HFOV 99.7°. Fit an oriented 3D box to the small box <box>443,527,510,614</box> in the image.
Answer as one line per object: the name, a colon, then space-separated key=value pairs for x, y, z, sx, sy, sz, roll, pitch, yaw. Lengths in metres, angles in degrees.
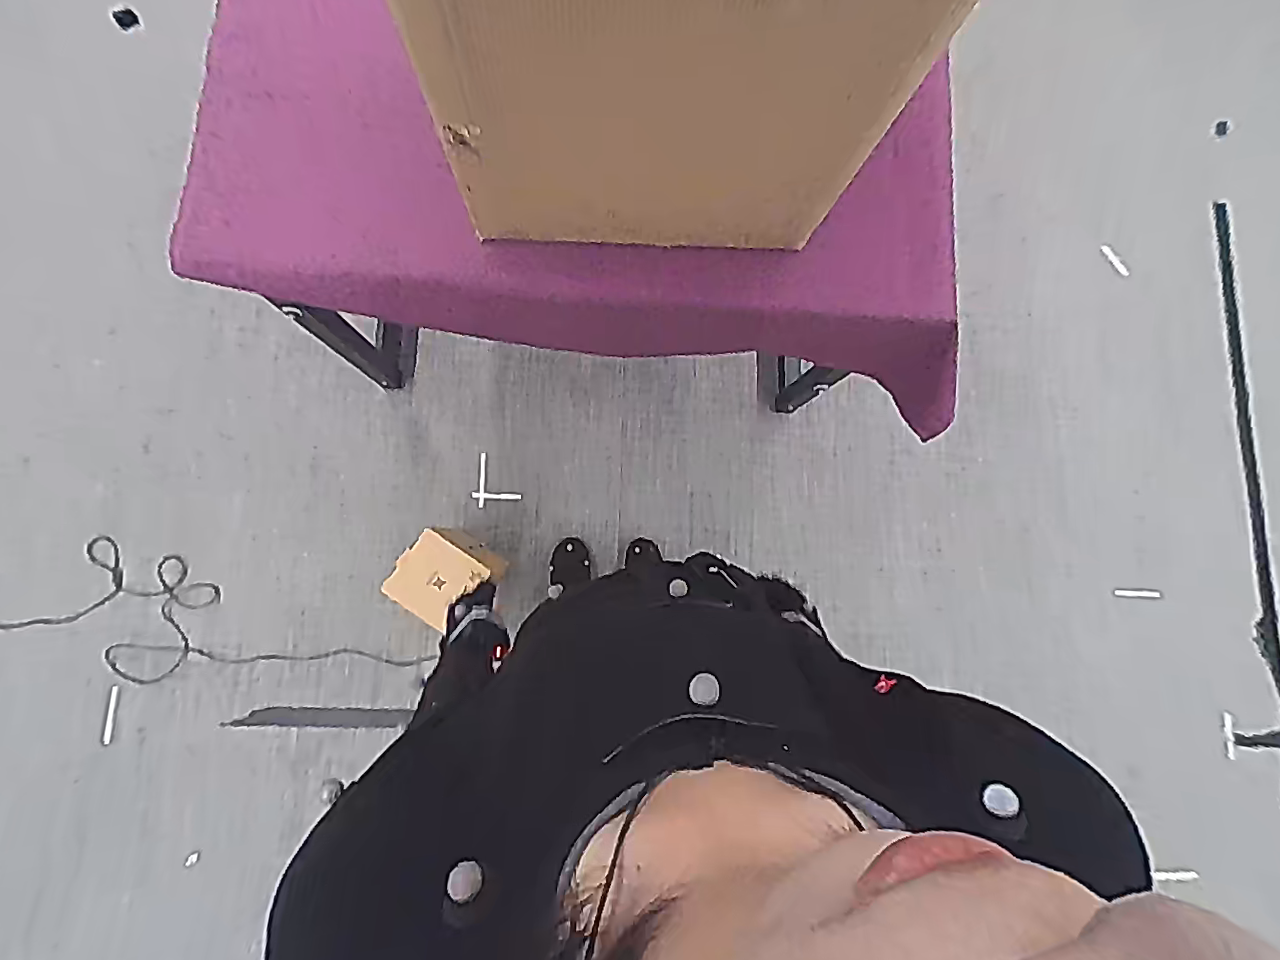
small box: x=-0.458 y=0.239 z=1.392 sx=0.179 sy=0.176 sz=0.168 roll=33 pitch=81 yaw=-1

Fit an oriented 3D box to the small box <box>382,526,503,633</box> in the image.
small box: x=-0.439 y=0.223 z=1.230 sx=0.179 sy=0.176 sz=0.168 roll=35 pitch=81 yaw=0
